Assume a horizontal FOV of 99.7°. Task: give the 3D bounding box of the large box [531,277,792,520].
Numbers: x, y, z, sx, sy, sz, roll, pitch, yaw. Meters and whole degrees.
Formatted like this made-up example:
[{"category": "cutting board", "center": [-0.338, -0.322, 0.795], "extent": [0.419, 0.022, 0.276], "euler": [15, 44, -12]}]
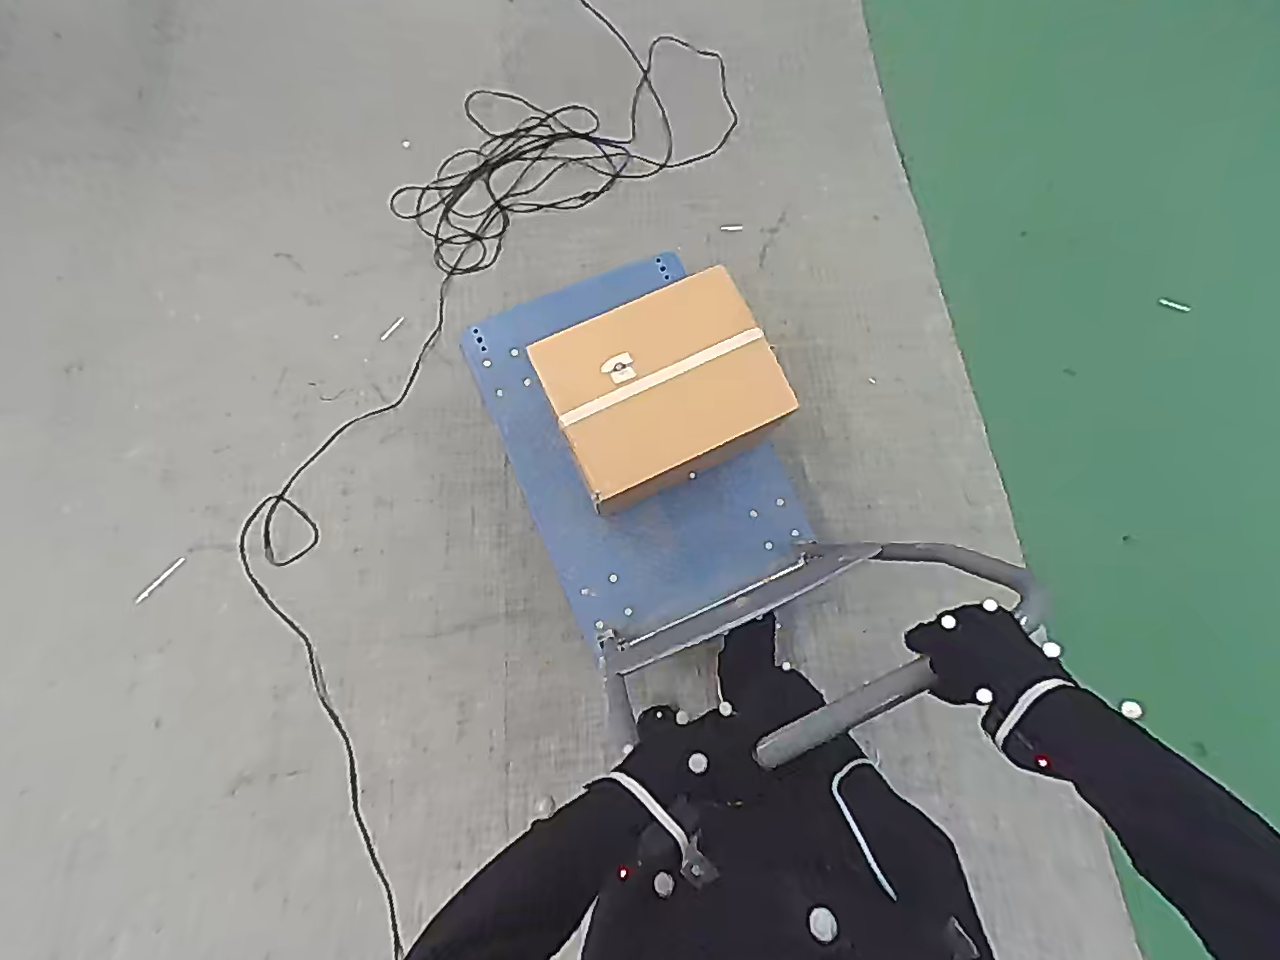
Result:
[{"category": "large box", "center": [0.037, -0.147, 1.139], "extent": [0.408, 0.320, 0.320], "euler": [-26, 82, -5]}]
